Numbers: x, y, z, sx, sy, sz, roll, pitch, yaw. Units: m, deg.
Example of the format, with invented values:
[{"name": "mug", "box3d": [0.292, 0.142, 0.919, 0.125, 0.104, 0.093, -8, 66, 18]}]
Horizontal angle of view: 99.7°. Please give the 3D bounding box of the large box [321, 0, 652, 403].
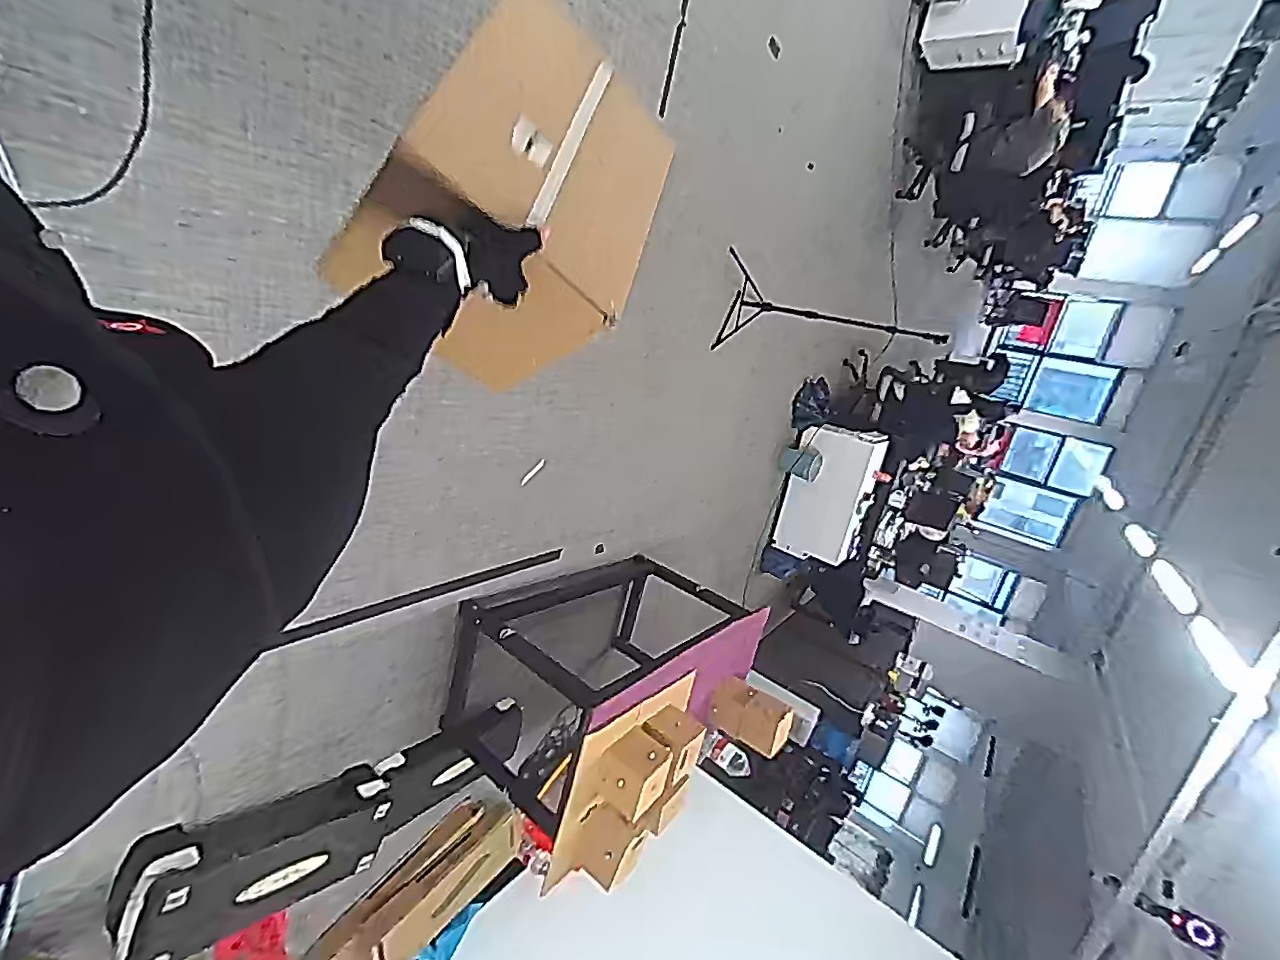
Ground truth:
[{"name": "large box", "box3d": [-0.222, -0.400, 0.848, 0.320, 0.320, 0.408, 32, 56, -32]}]
